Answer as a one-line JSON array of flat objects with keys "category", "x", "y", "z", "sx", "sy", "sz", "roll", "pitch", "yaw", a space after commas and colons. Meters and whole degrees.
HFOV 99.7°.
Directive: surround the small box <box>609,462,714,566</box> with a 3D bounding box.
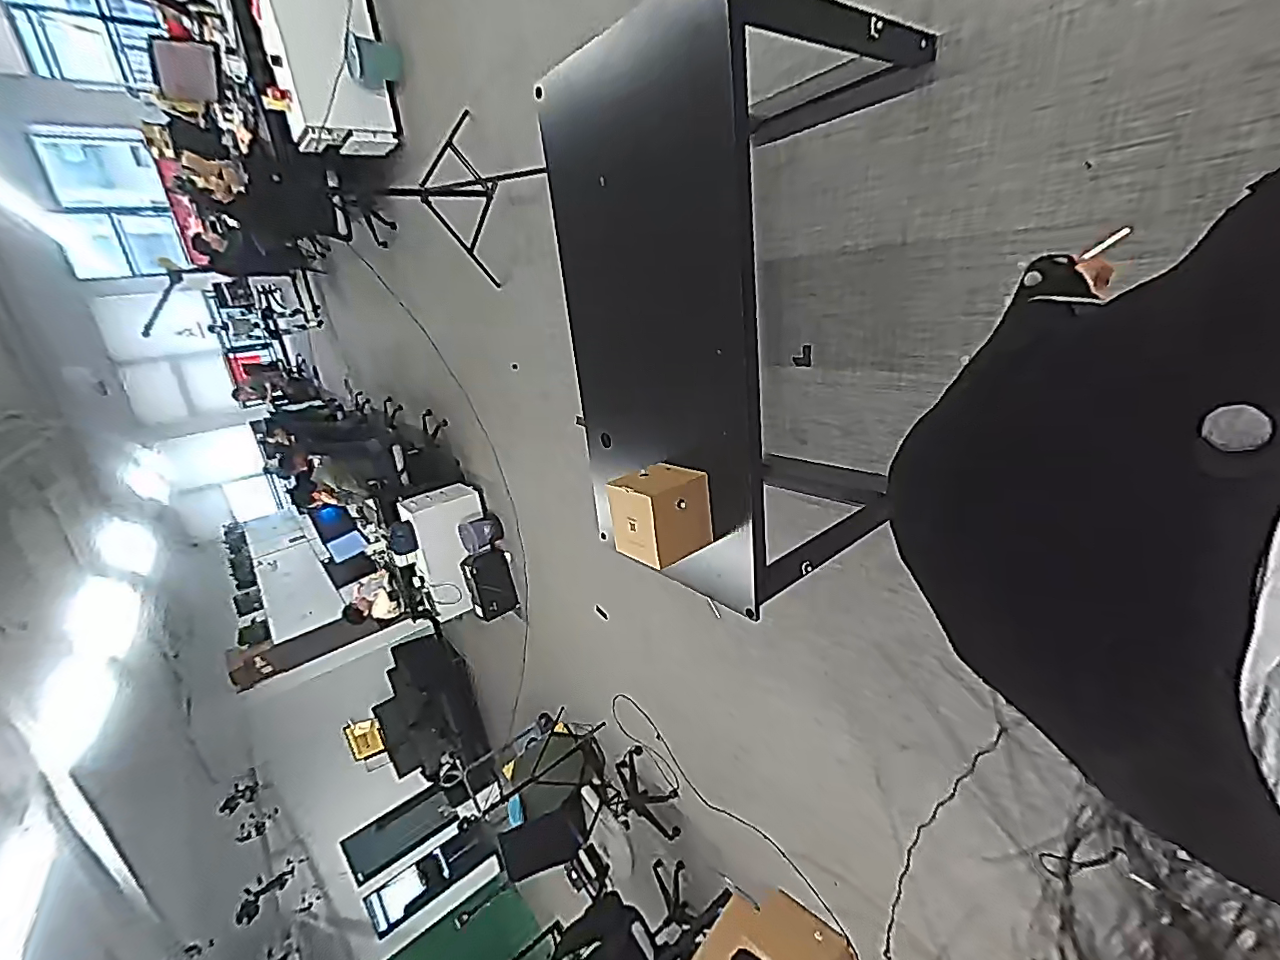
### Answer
[{"category": "small box", "x": 0.052, "y": 0.067, "z": 1.241, "sx": 0.168, "sy": 0.176, "sz": 0.179, "roll": 16, "pitch": 120, "yaw": 51}]
